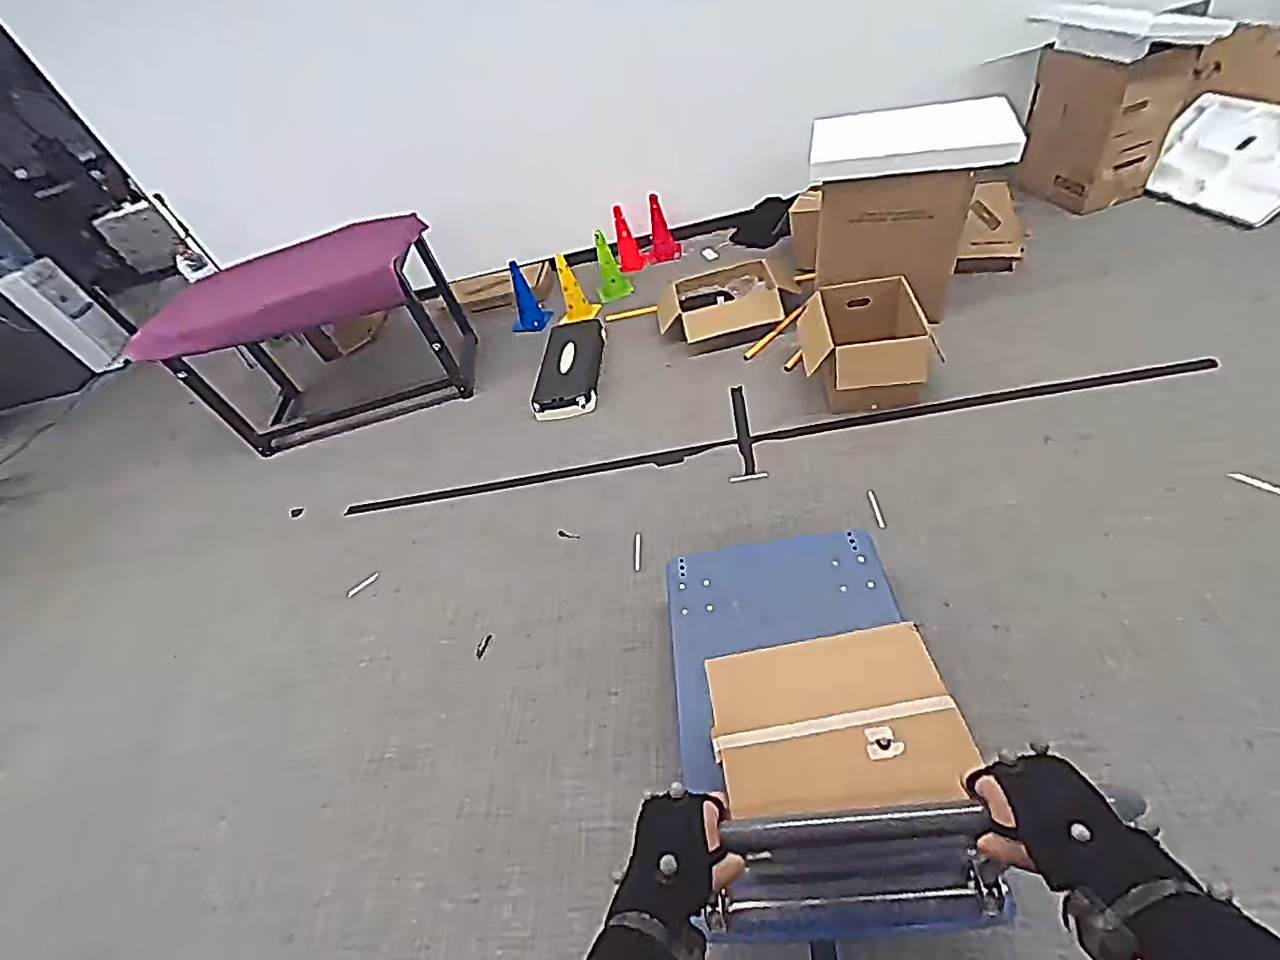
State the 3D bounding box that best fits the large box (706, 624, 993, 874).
[{"bbox_3d":[0.366,0.528,1.052,0.408,0.320,0.320,-12,46,5],"label":"large box"}]
